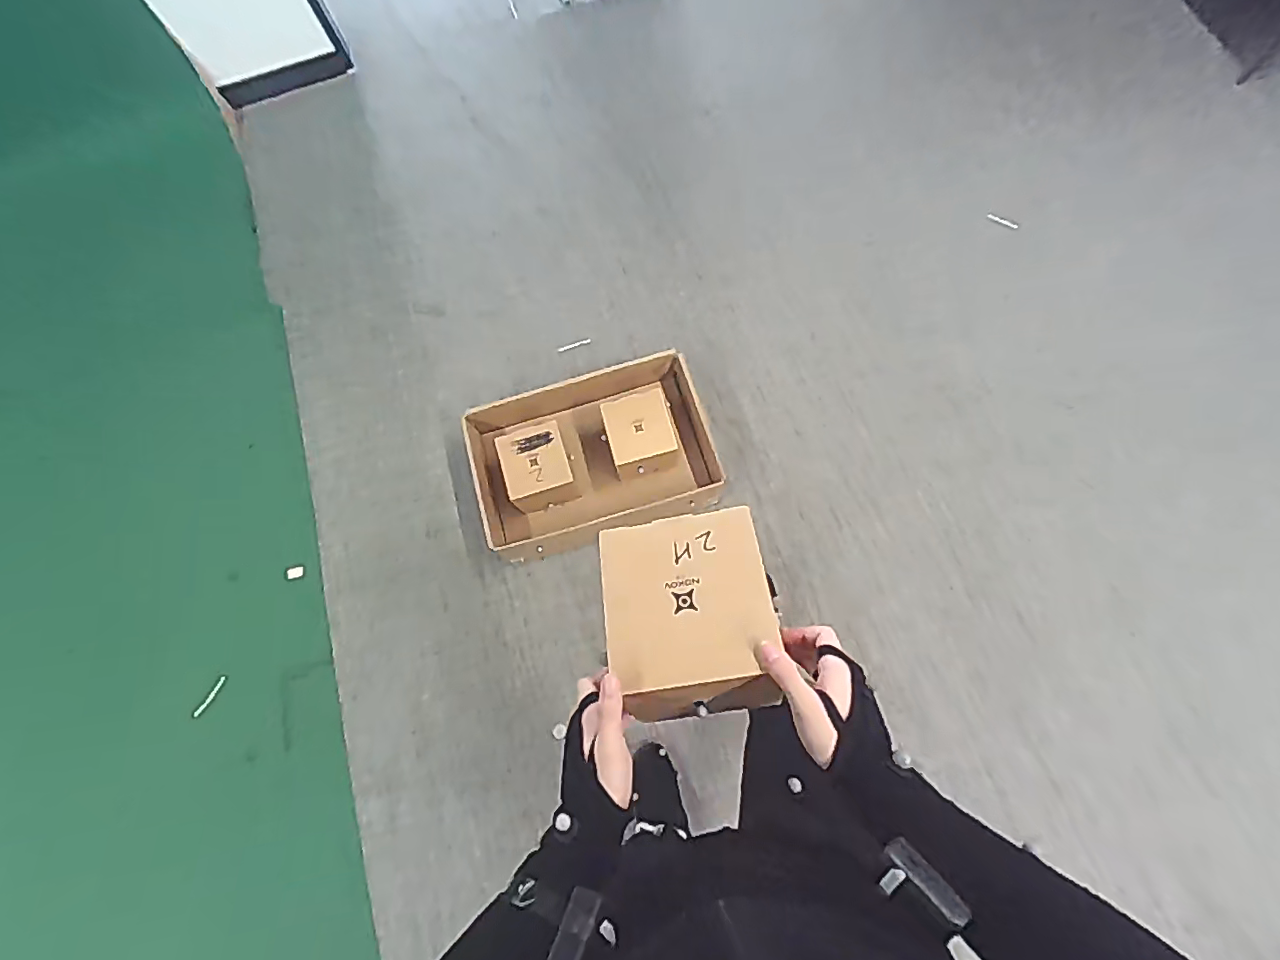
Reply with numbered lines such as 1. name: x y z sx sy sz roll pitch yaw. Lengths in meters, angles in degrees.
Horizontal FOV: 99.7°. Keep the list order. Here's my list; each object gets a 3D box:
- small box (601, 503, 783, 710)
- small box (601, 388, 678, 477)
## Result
1. small box: 0.059 0.151 0.606 0.168 0.176 0.179 -10 57 5
2. small box: 0.005 -0.117 1.448 0.168 0.176 0.179 -16 74 0
